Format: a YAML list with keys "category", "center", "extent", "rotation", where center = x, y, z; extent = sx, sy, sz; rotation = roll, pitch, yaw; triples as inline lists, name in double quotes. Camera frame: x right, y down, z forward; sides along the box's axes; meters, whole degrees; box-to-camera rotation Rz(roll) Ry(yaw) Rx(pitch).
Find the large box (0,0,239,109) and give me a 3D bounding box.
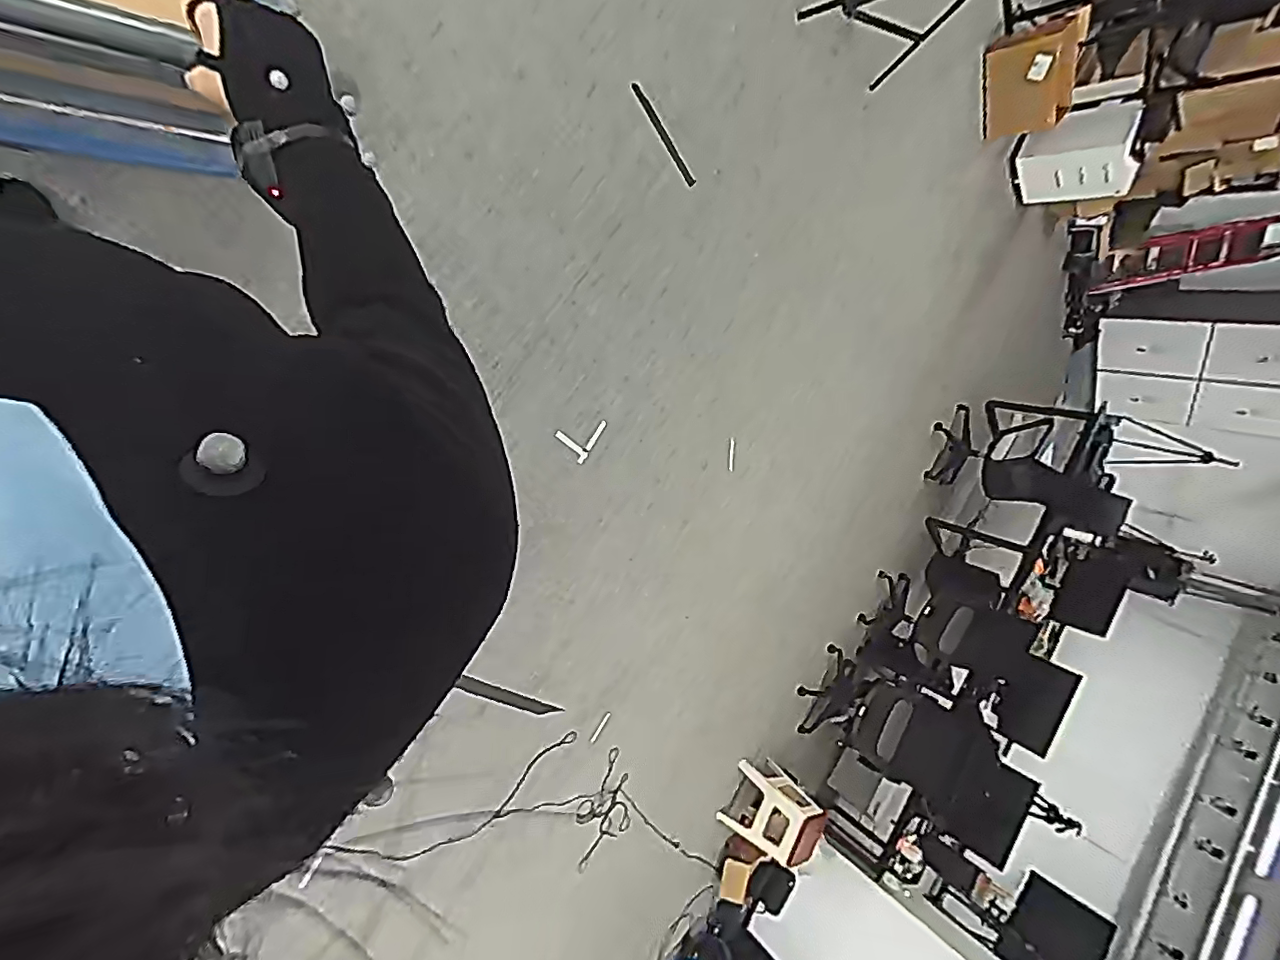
- category: "large box"
  center: [-0.790, -0.717, 0.669]
  extent: [0.408, 0.320, 0.320]
  rotation: [-13, 114, -41]
